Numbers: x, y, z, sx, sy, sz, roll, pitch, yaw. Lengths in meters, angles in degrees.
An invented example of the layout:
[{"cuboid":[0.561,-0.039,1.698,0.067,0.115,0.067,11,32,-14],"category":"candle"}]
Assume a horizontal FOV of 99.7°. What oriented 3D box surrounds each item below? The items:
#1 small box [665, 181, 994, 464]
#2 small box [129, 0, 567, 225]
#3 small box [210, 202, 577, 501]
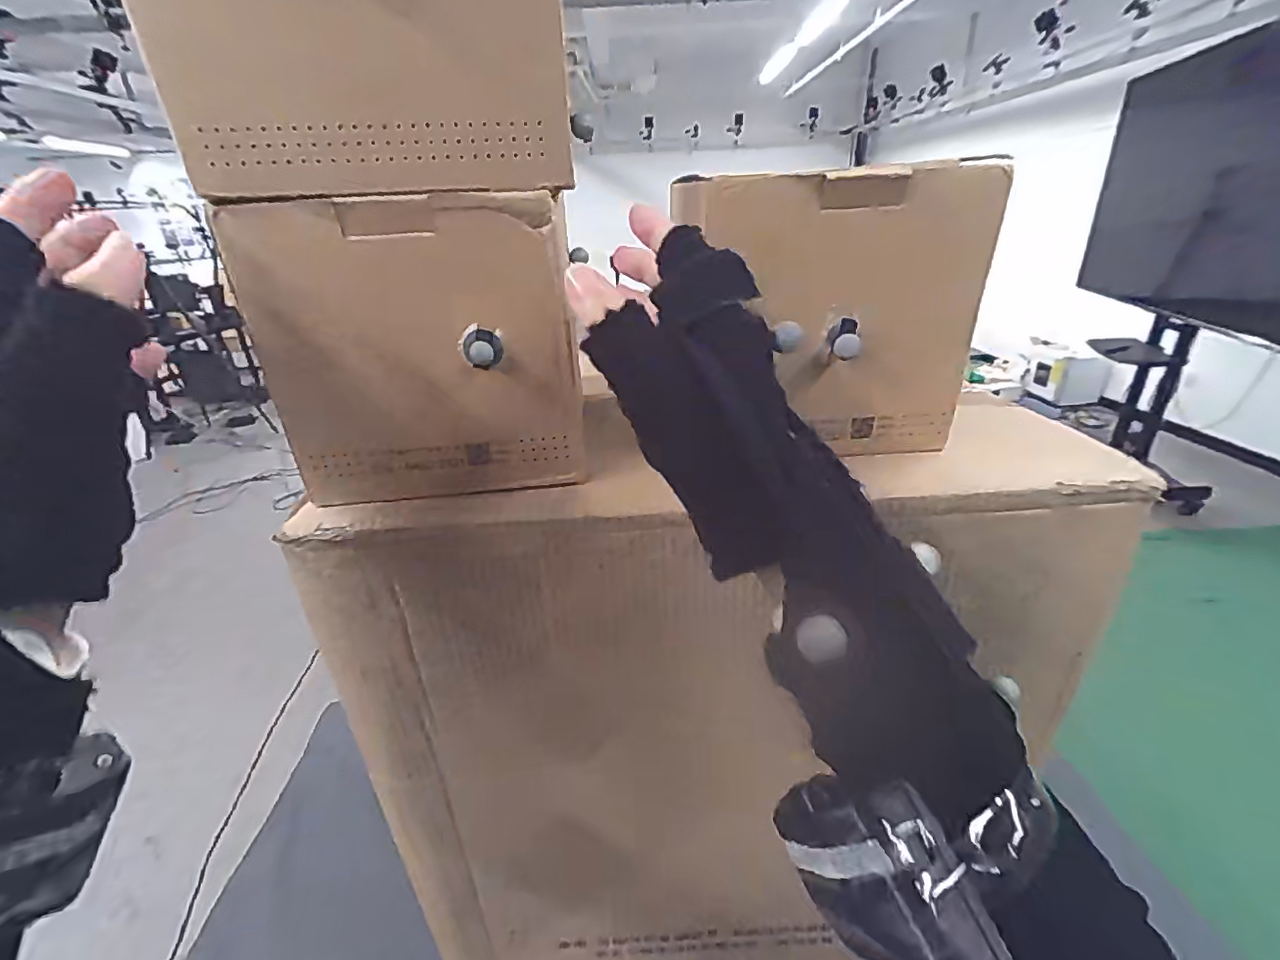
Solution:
[{"cuboid":[0.108,-0.118,0.396,0.168,0.176,0.179,-3,28,-2],"category":"small box"},{"cuboid":[-0.135,-0.235,0.294,0.179,0.176,0.168,-7,29,-12],"category":"small box"},{"cuboid":[-0.132,-0.093,0.375,0.168,0.176,0.179,-4,27,-5],"category":"small box"}]
